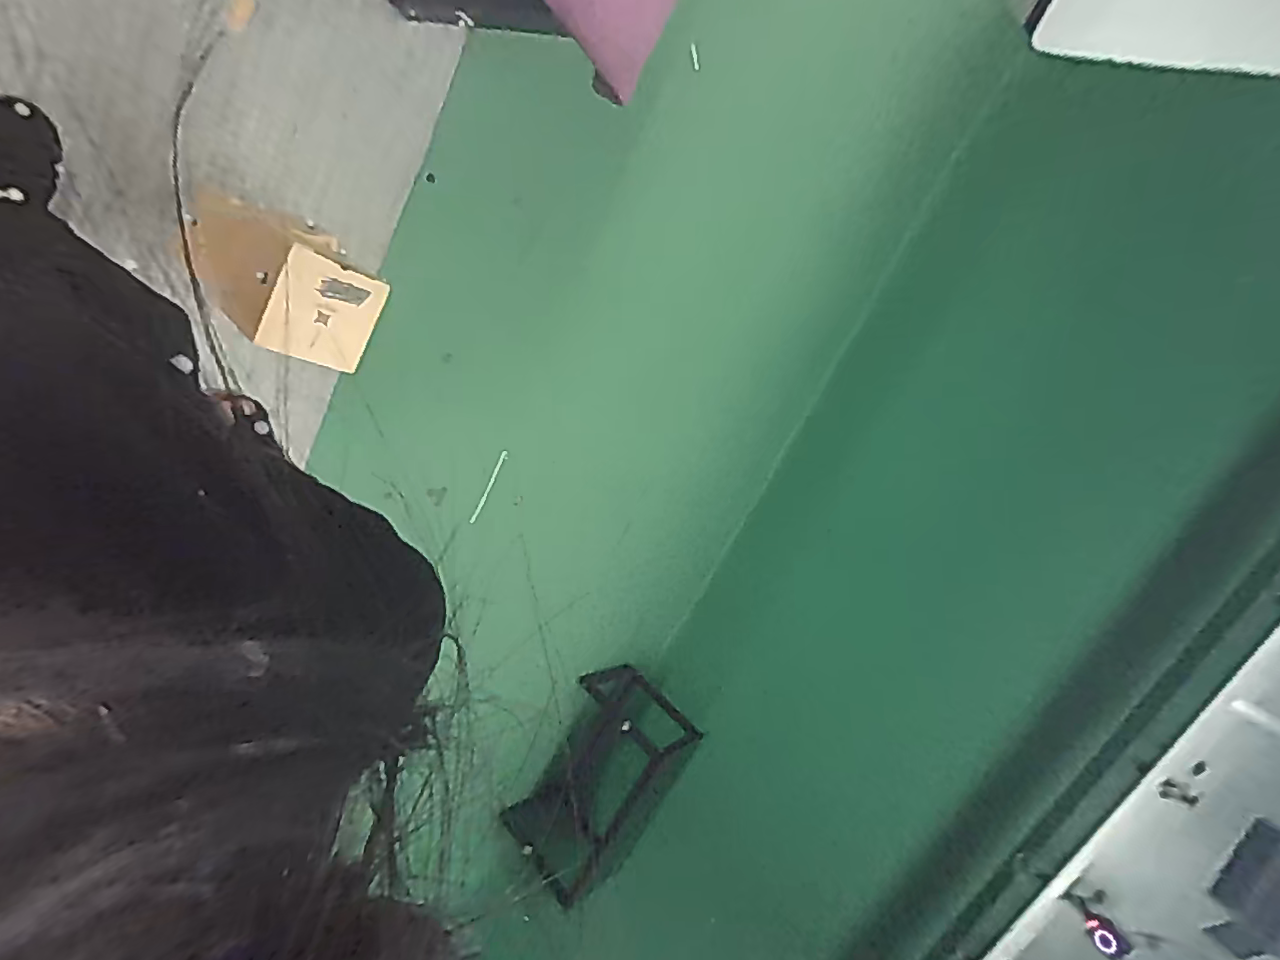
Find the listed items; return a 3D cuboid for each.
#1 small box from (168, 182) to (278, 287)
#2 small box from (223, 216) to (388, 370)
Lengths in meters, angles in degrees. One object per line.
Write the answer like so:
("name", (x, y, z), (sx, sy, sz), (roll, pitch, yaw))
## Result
("small box", (-0.814, -0.478, 1.106), (0.168, 0.176, 0.179), (-56, 149, 3))
("small box", (-0.580, -0.322, 0.935), (0.168, 0.176, 0.179), (13, 110, -58))
